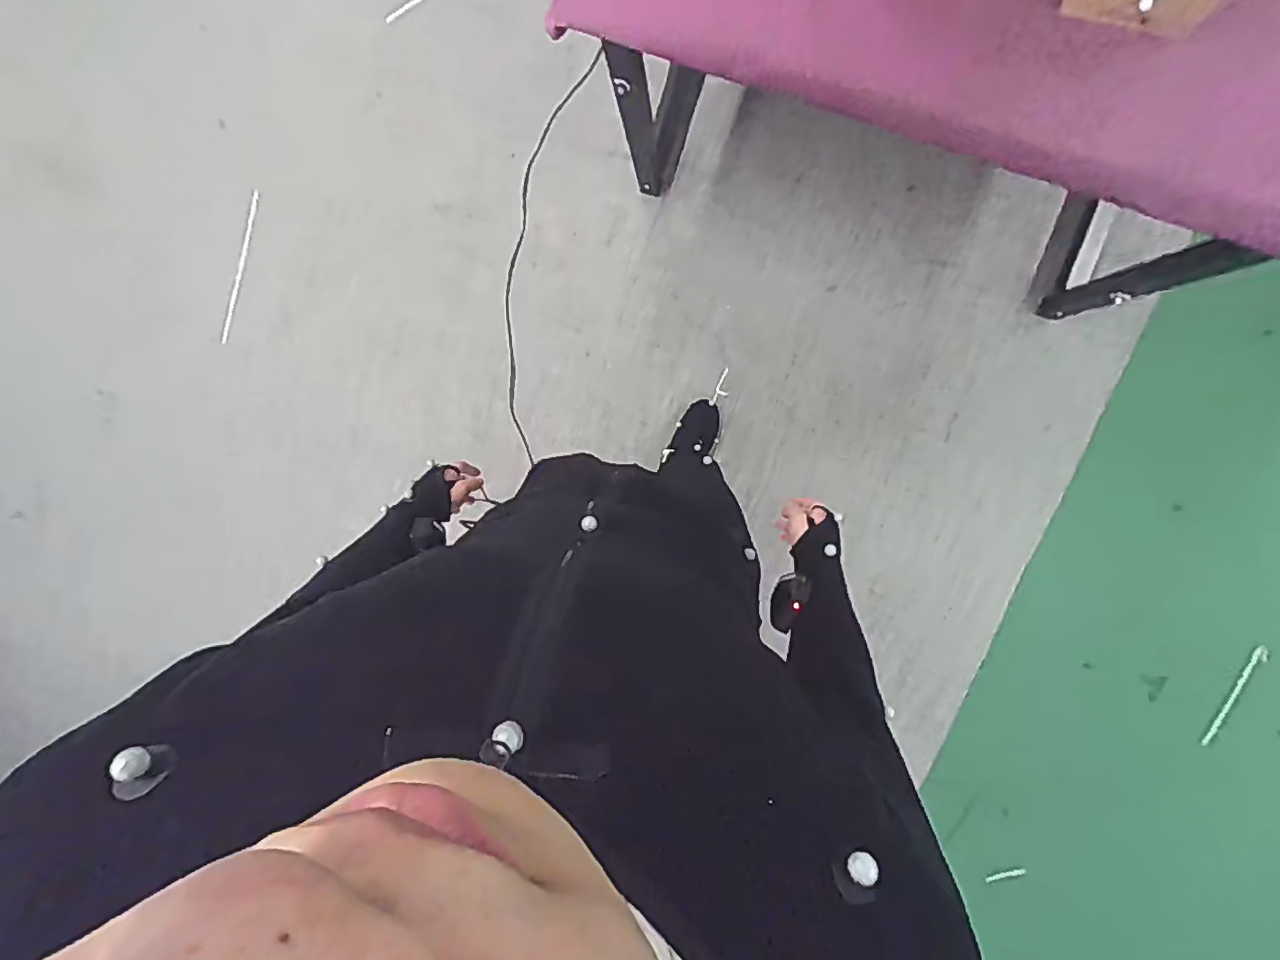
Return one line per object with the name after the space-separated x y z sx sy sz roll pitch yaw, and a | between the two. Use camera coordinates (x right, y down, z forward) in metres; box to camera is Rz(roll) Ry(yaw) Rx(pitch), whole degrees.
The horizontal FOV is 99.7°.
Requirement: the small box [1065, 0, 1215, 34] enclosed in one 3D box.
0.665 -0.700 0.649 0.168 0.176 0.179 17 98 4 | small box

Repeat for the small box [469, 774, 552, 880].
-0.385 1.045 1.640 0.168 0.176 0.179 24 98 1 | small box
